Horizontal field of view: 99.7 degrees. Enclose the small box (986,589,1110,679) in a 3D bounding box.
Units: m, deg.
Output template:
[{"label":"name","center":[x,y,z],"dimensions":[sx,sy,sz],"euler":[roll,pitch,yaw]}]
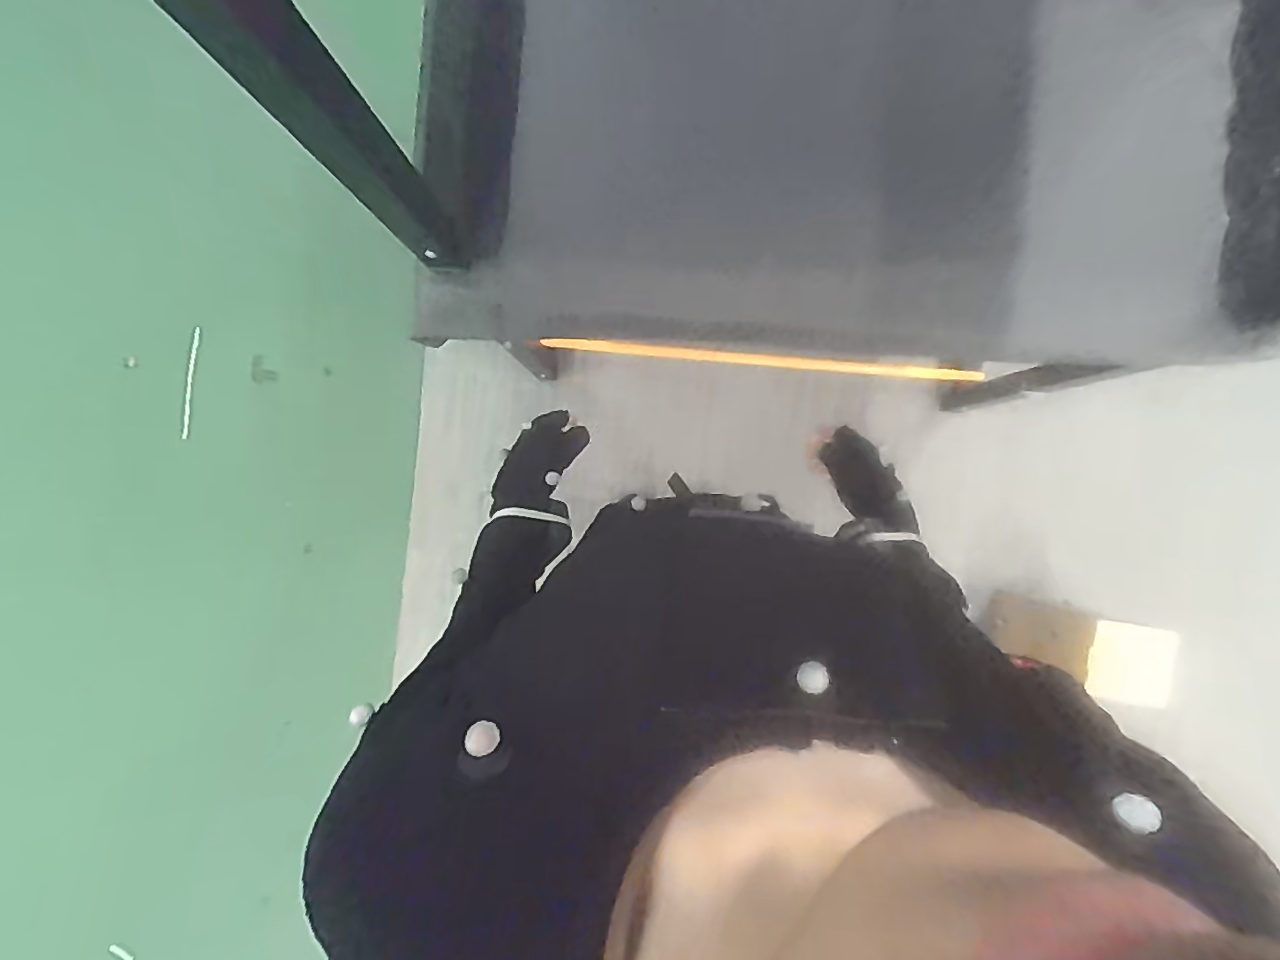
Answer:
[{"label":"small box","center":[1.041,0.387,1.391],"dimensions":[0.179,0.176,0.168],"euler":[11,90,2]}]
